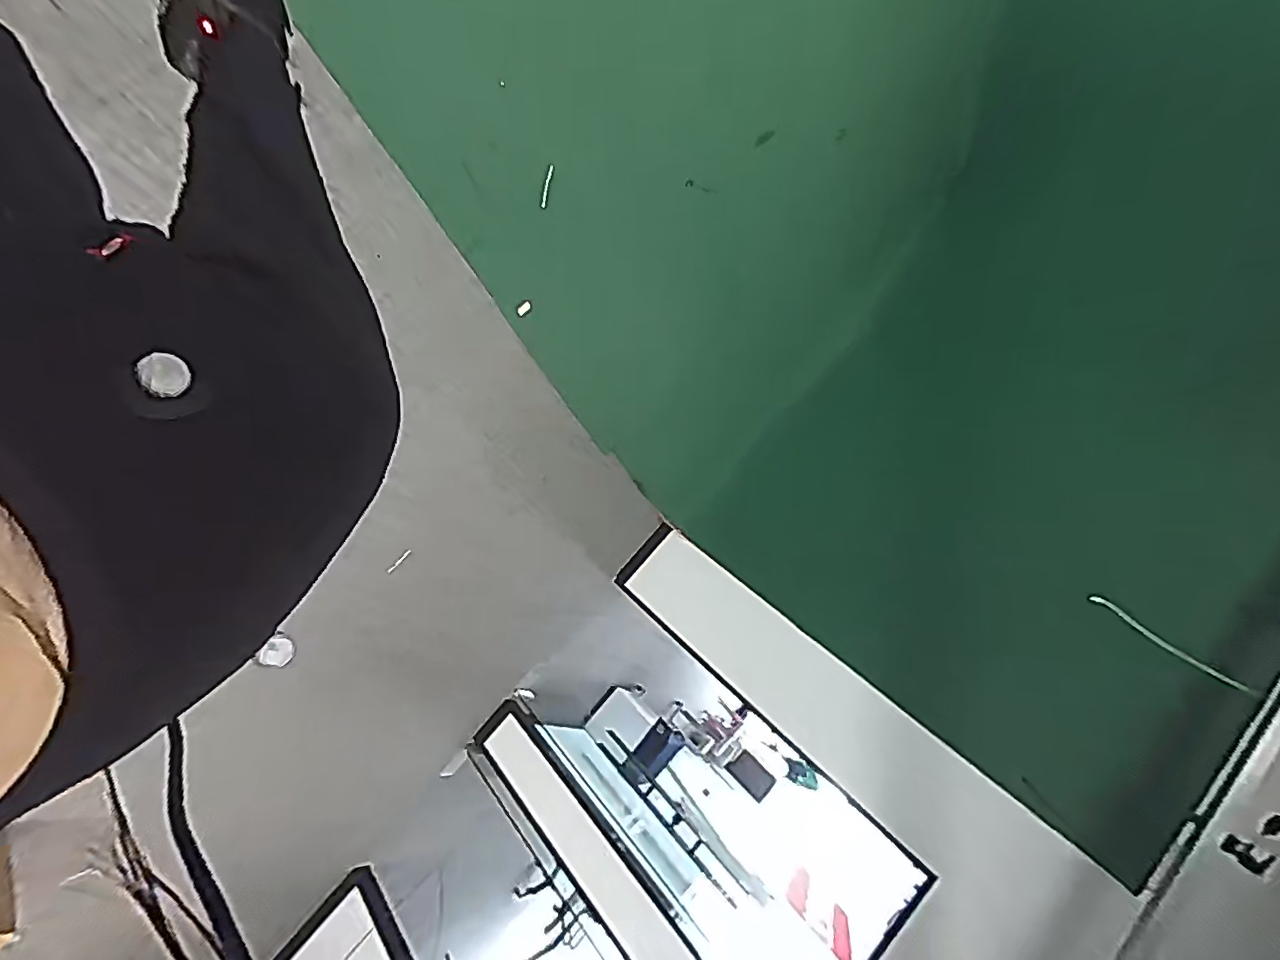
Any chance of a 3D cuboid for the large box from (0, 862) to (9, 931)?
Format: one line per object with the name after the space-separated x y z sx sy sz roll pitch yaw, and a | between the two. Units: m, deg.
-1.875 1.076 1.265 0.320 0.320 0.408 -46 150 -9 | large box
